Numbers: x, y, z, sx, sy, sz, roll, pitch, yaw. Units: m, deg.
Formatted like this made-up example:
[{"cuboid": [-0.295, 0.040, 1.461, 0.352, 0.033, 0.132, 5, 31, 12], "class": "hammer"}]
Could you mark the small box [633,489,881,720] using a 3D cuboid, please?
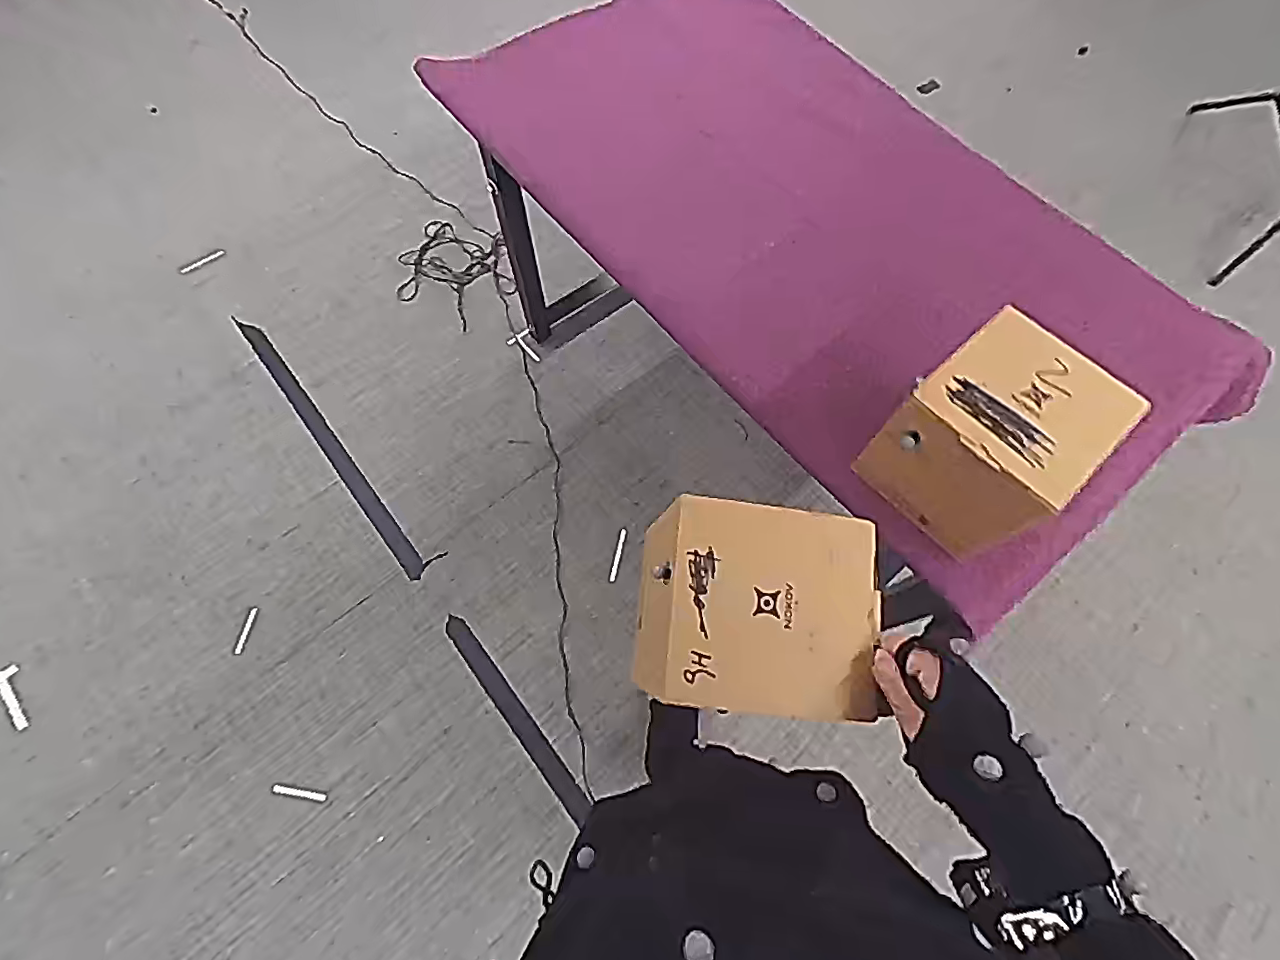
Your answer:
[{"cuboid": [0.099, 0.116, 0.509, 0.179, 0.176, 0.168, 8, 74, -8], "class": "small box"}]
